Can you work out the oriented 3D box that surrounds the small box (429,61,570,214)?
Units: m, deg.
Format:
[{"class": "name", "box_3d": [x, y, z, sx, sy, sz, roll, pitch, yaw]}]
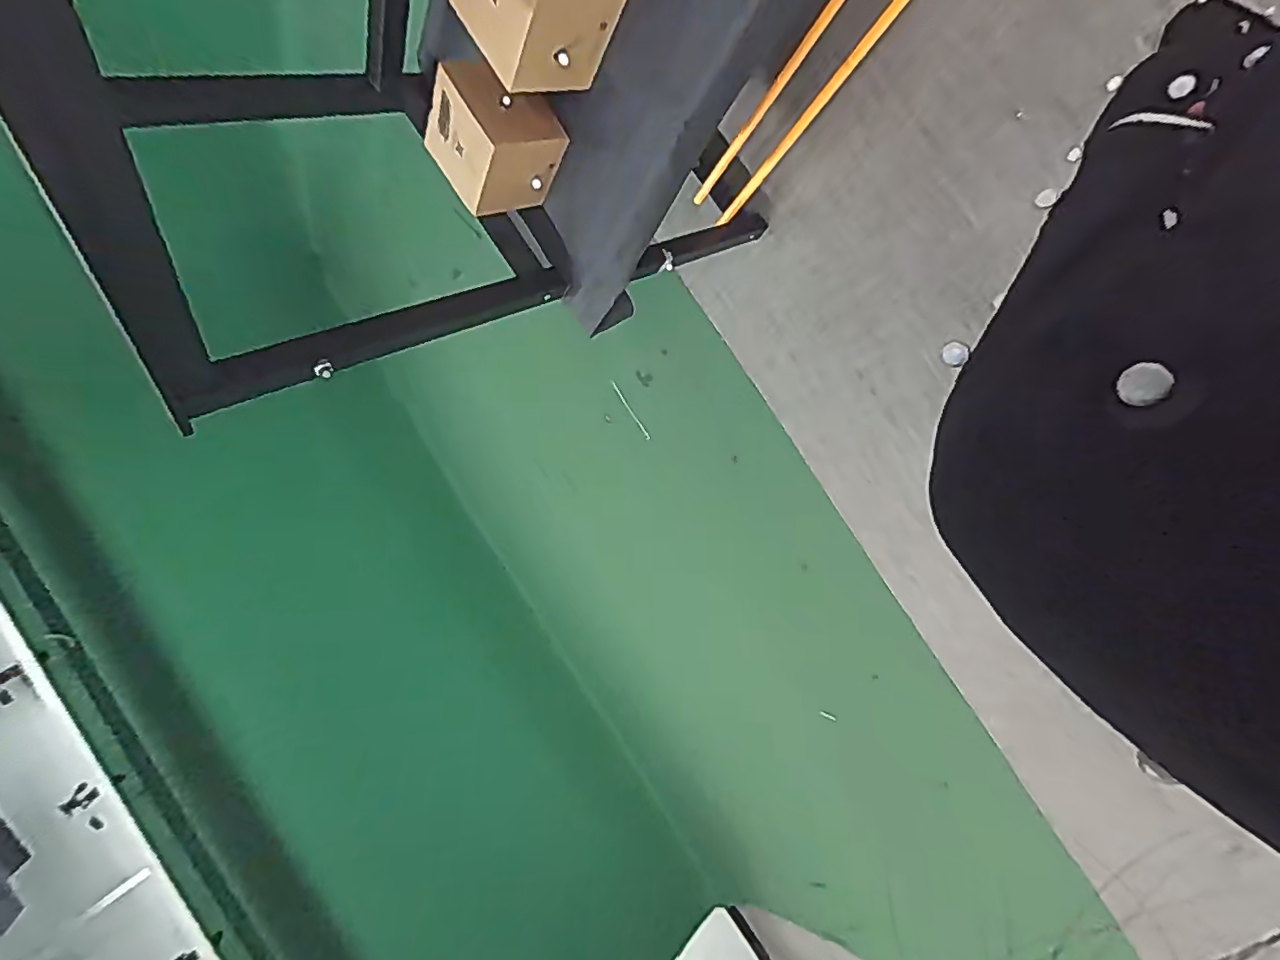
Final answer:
[{"class": "small box", "box_3d": [-0.263, -0.636, 1.012, 0.179, 0.176, 0.168, 56, 146, 1]}]

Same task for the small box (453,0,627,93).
[{"class": "small box", "box_3d": [-0.146, -0.723, 0.805, 0.179, 0.176, 0.168, 56, 145, 2]}]
